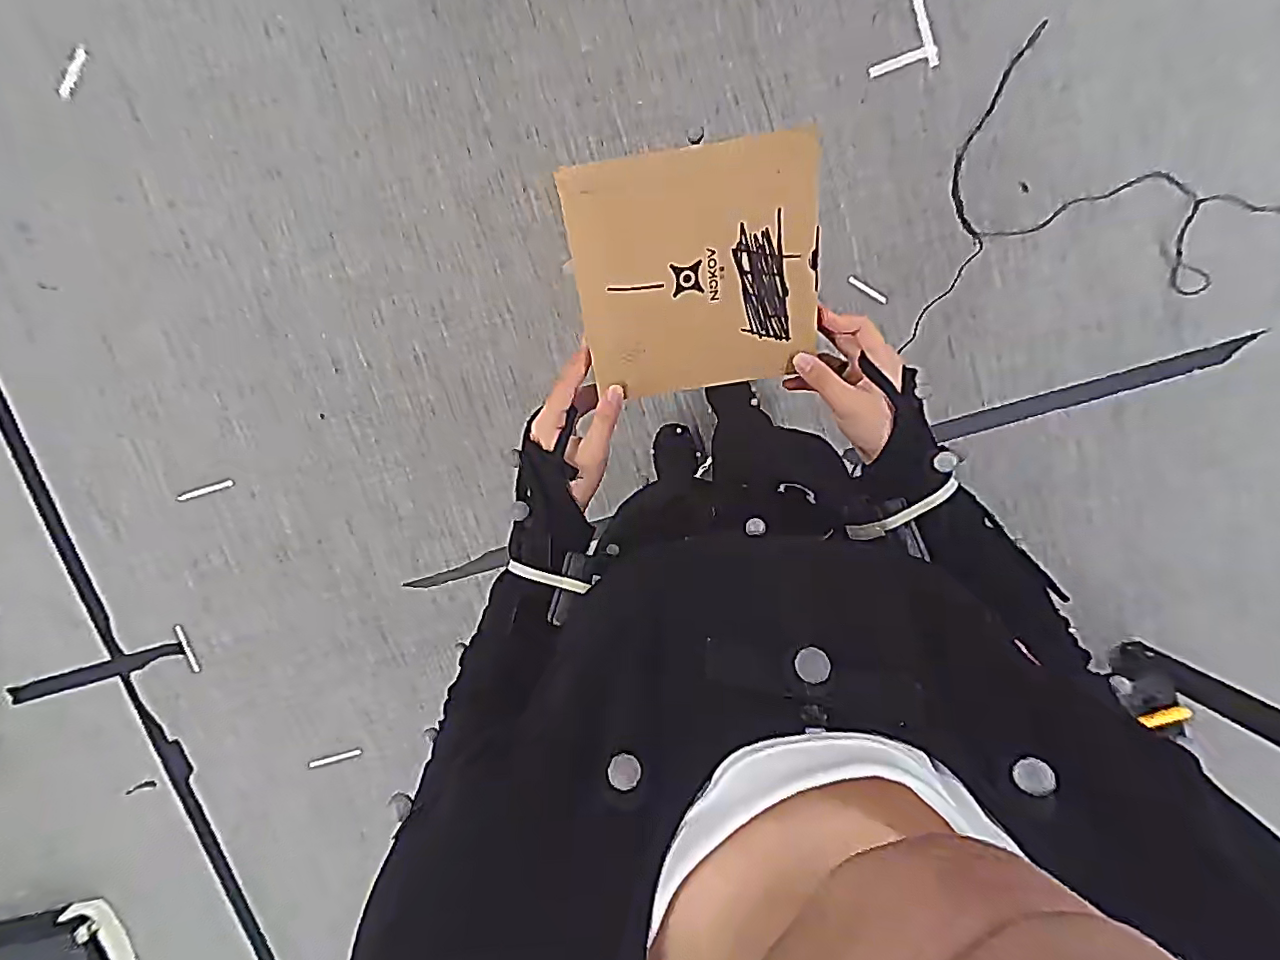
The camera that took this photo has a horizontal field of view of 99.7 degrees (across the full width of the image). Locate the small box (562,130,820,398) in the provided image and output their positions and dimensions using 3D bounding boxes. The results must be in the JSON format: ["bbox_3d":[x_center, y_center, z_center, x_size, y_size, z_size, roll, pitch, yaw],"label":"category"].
[{"bbox_3d":[0.039,-0.187,0.463,0.179,0.176,0.168,-9,118,2],"label":"small box"}]
